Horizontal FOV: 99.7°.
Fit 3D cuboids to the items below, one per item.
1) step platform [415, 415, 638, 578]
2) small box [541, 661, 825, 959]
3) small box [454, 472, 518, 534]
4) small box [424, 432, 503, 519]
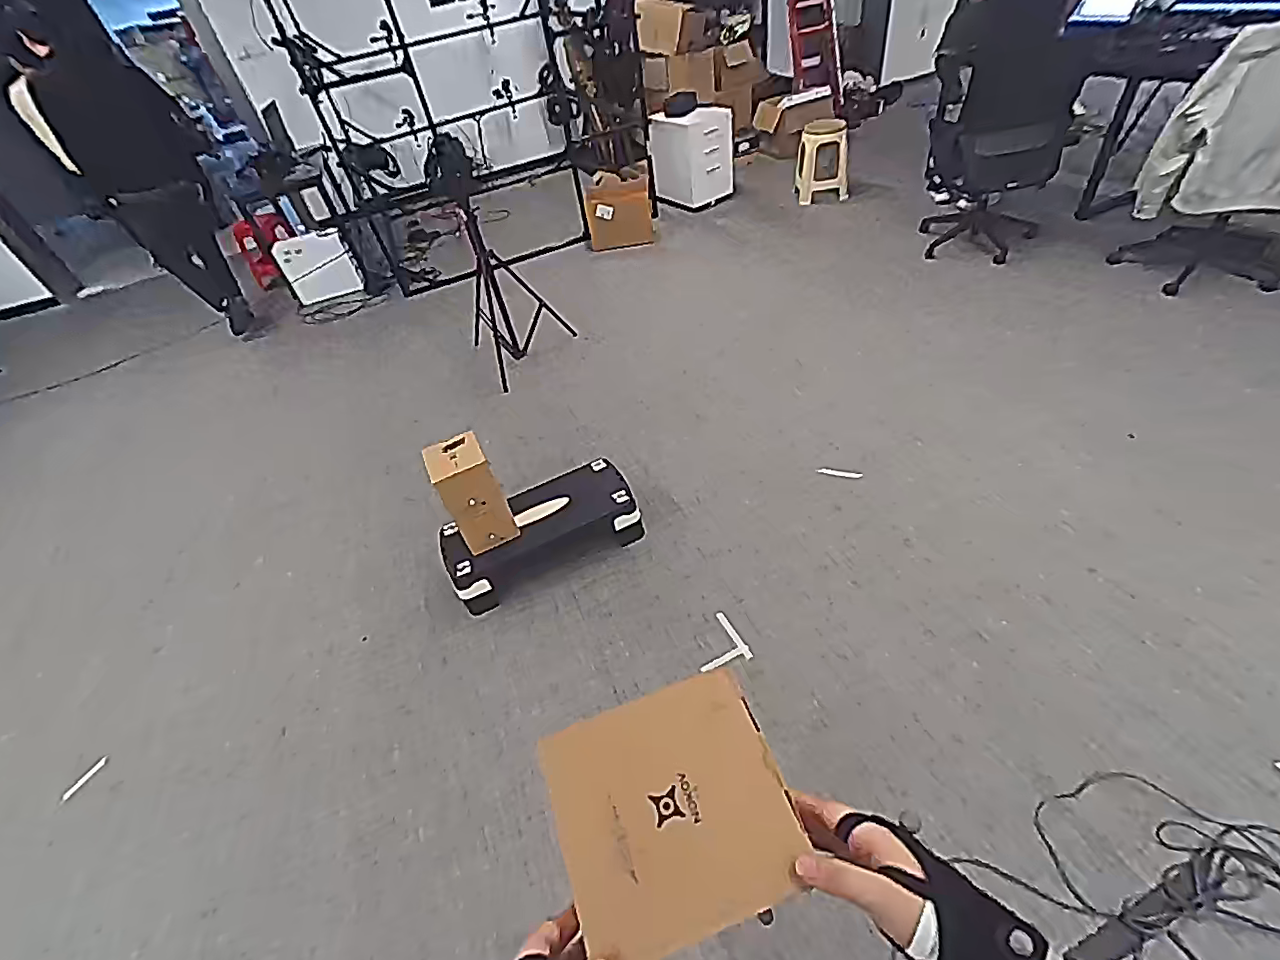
[{"bbox_3d":[-0.352,0.045,1.753,0.684,0.204,0.286,-24,44,-13],"label":"step platform"},{"bbox_3d":[0.030,0.289,0.480,0.179,0.176,0.168,-20,55,-9],"label":"small box"},{"bbox_3d":[-0.513,0.107,1.775,0.168,0.176,0.179,-24,45,-13],"label":"small box"},{"bbox_3d":[-0.542,-0.012,1.665,0.168,0.176,0.179,-25,45,-14],"label":"small box"}]
